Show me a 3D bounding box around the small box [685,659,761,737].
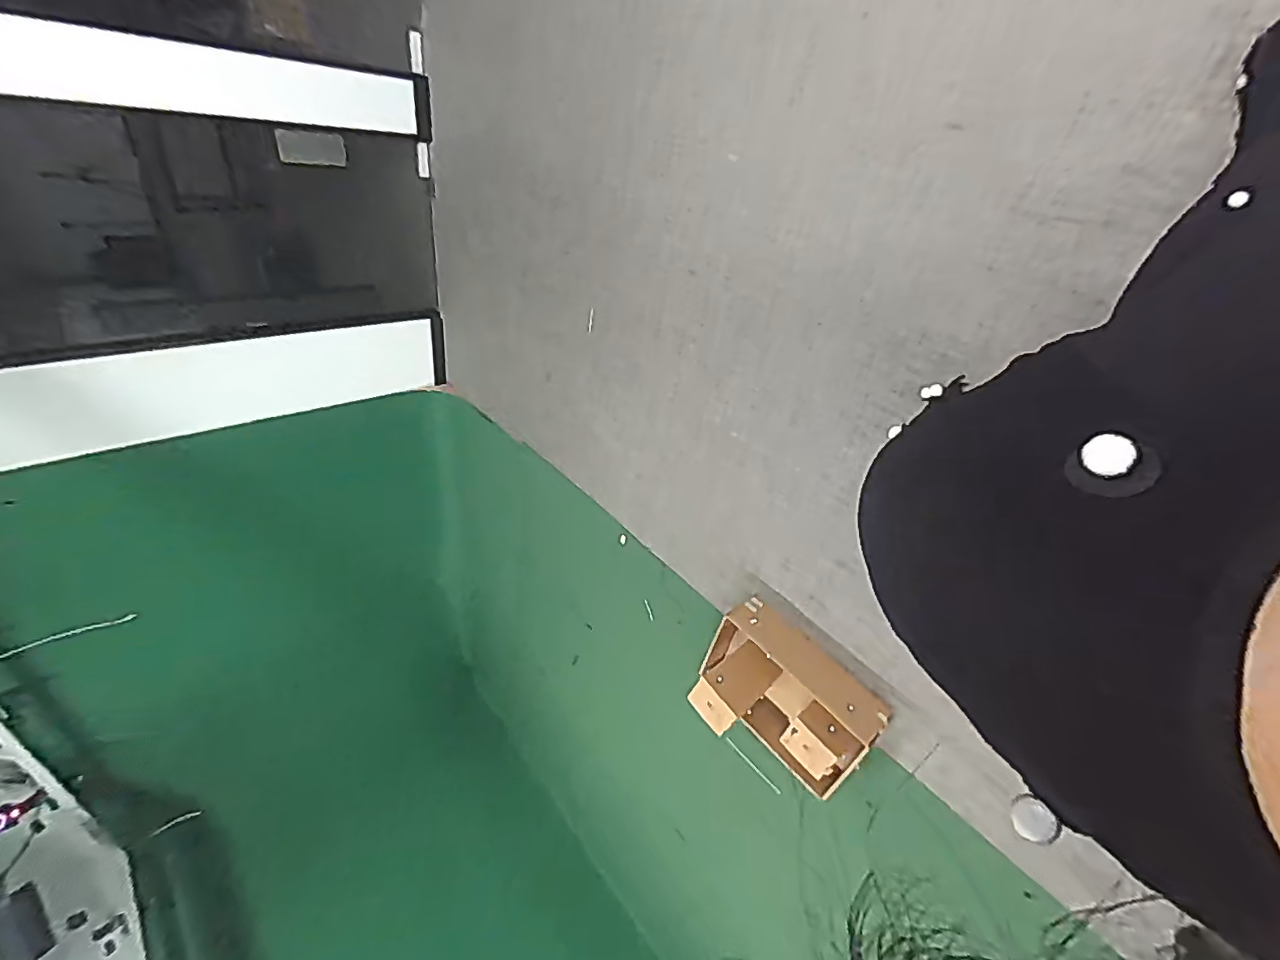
[{"bbox_3d":[0.297,0.770,1.932,0.179,0.176,0.168,44,135,25],"label":"small box"}]

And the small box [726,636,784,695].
[{"bbox_3d":[0.413,0.726,2.040,0.168,0.176,0.179,44,133,26],"label":"small box"}]
